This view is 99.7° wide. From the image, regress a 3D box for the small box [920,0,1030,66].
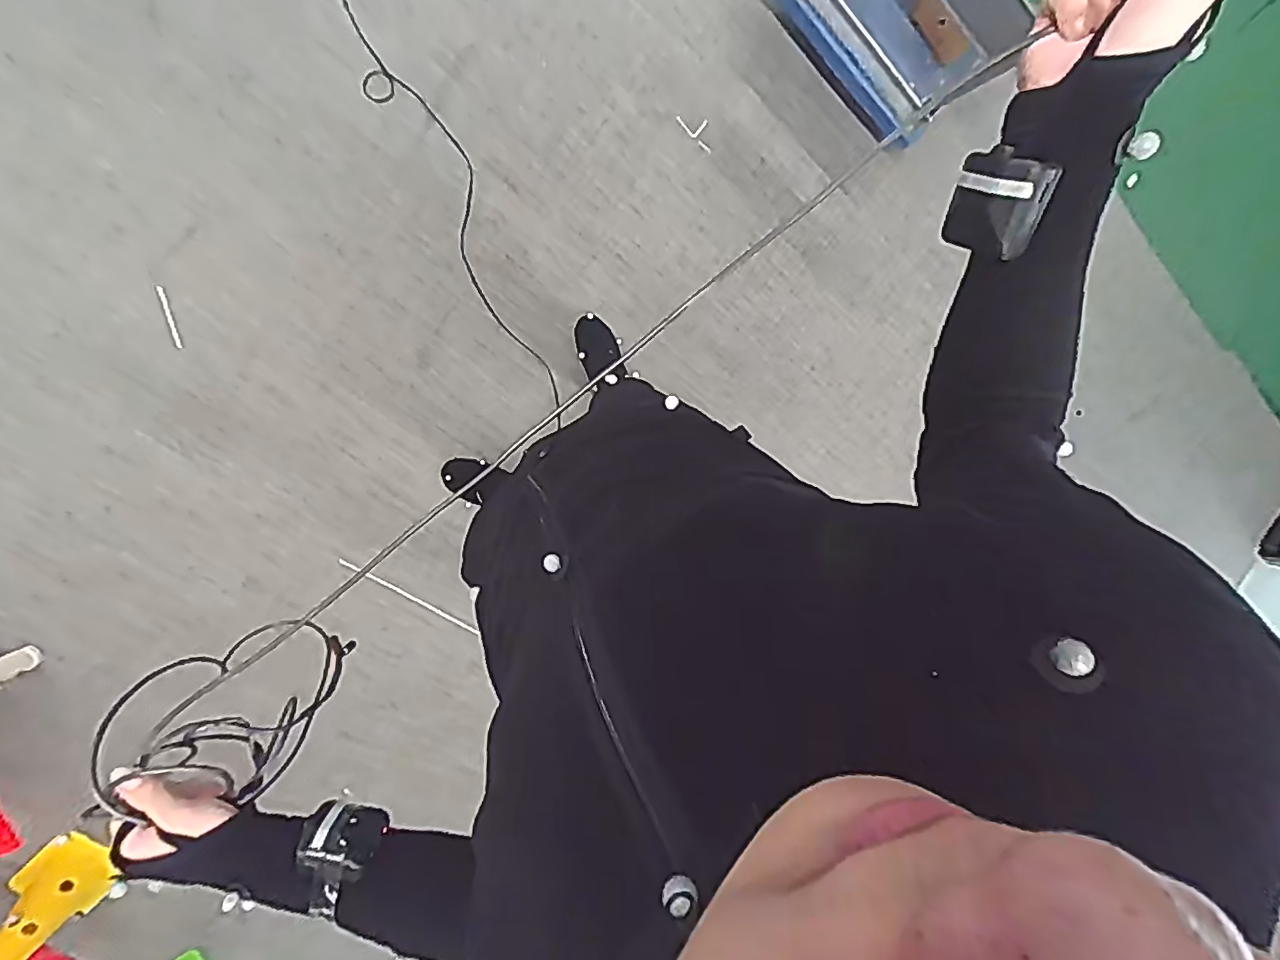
[{"bbox_3d":[0.863,-1.225,1.377,0.168,0.176,0.179,38,90,-18],"label":"small box"}]
